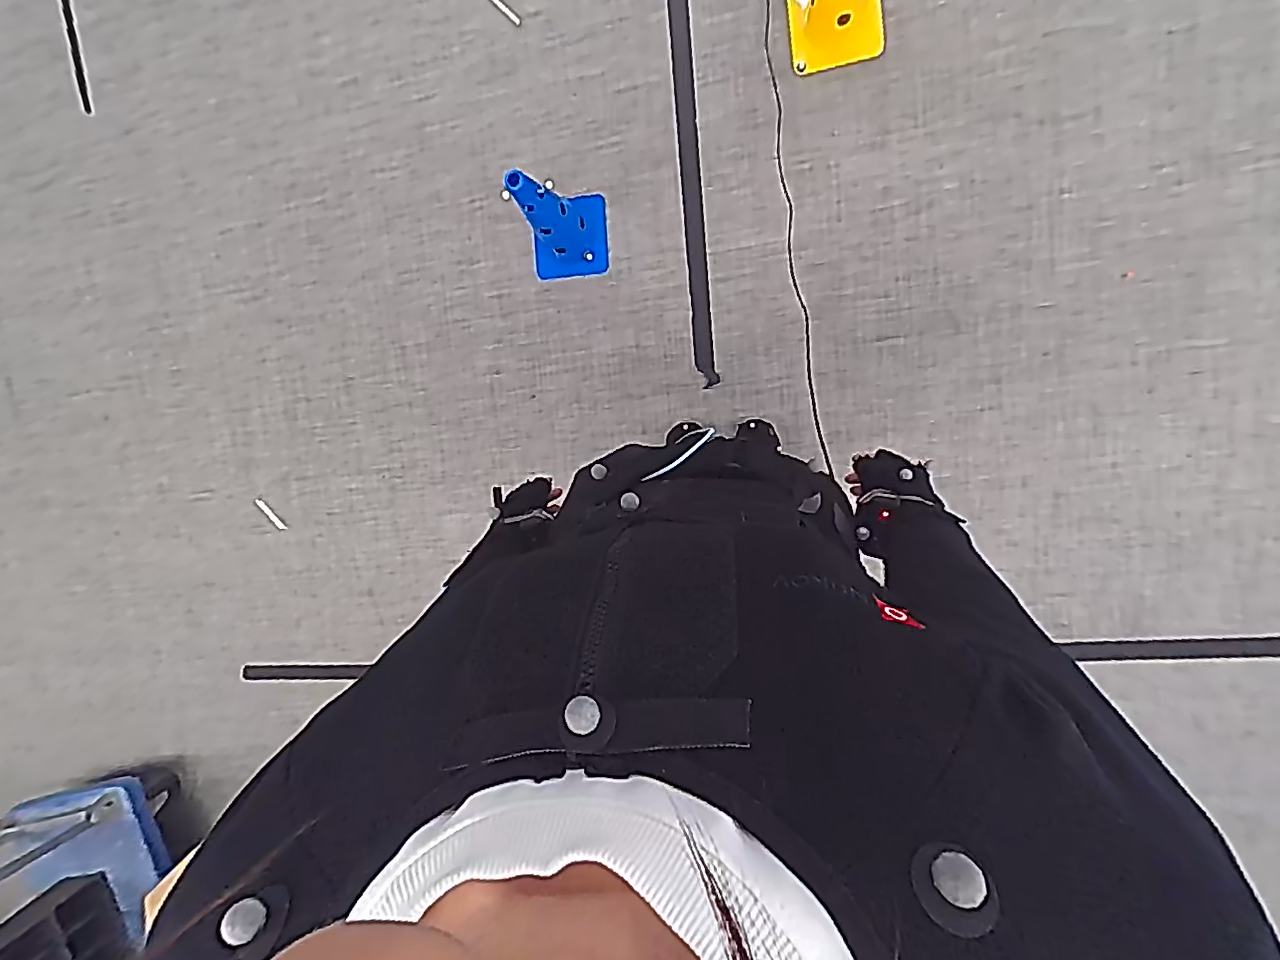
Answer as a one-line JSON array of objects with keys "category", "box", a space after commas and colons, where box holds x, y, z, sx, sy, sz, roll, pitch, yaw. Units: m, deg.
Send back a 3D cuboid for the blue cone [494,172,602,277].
[{"category": "blue cone", "box": [-0.226, -0.620, 1.257, 0.192, 0.380, 0.193, 0, 96, 12]}]
